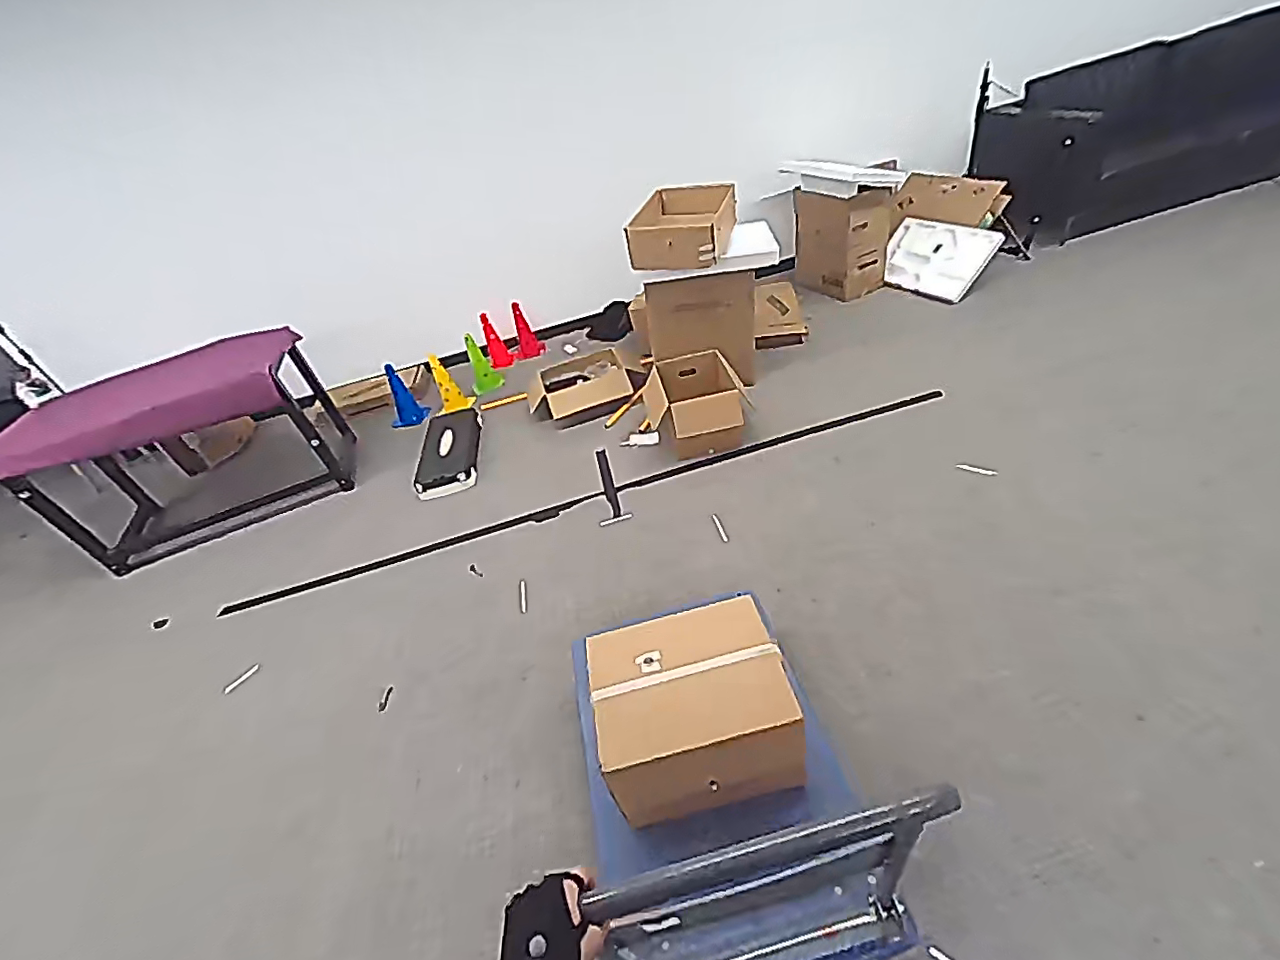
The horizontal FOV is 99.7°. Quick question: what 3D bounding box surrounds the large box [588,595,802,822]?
[{"bbox_3d":[0.126,0.529,1.256,0.408,0.320,0.320,-16,38,0],"label":"large box"}]
